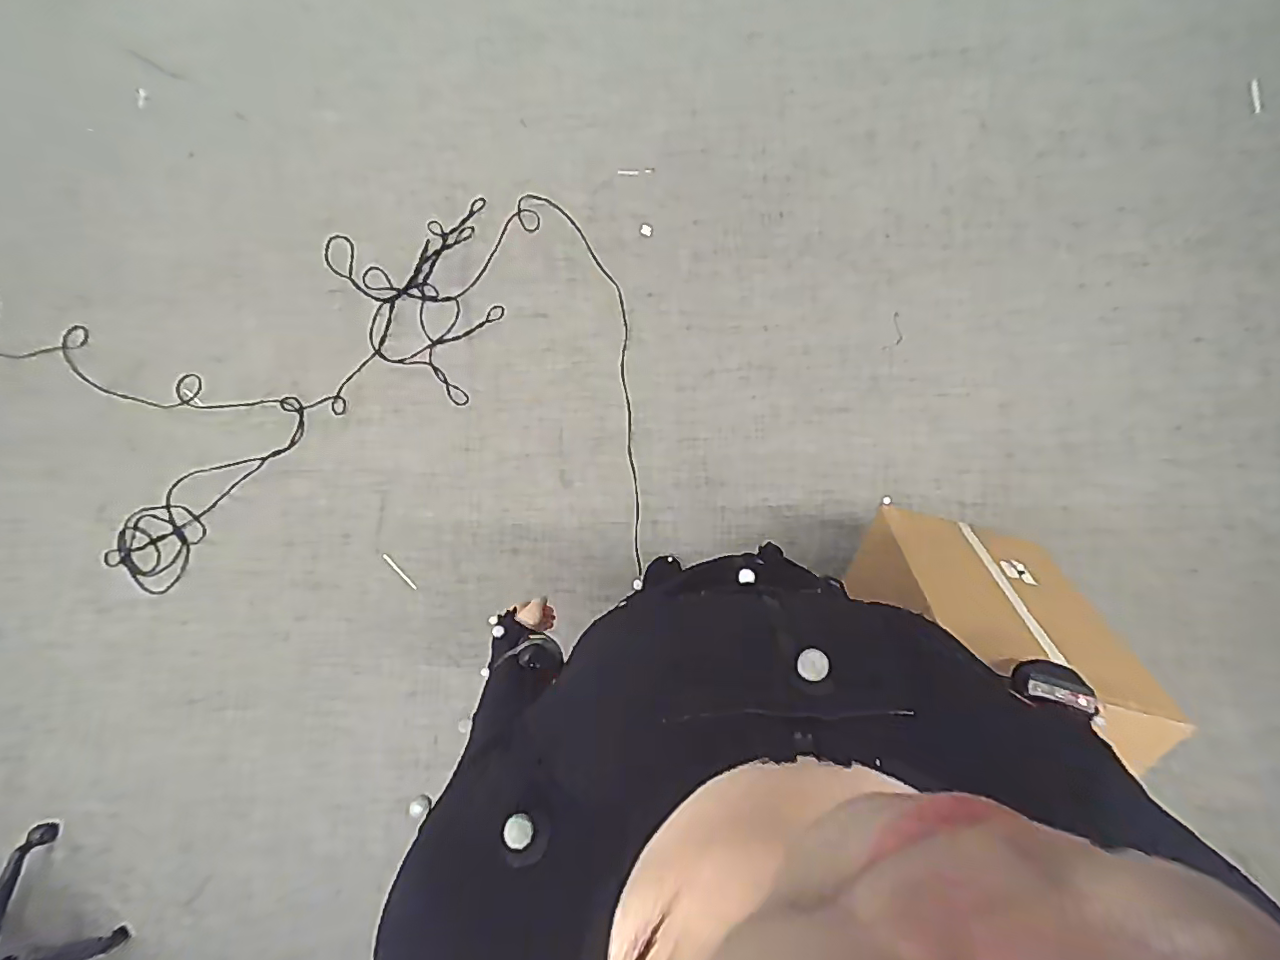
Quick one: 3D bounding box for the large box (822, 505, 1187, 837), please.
[{"bbox_3d":[0.542,0.301,0.927,0.320,0.408,0.320,14,119,1],"label":"large box"}]
